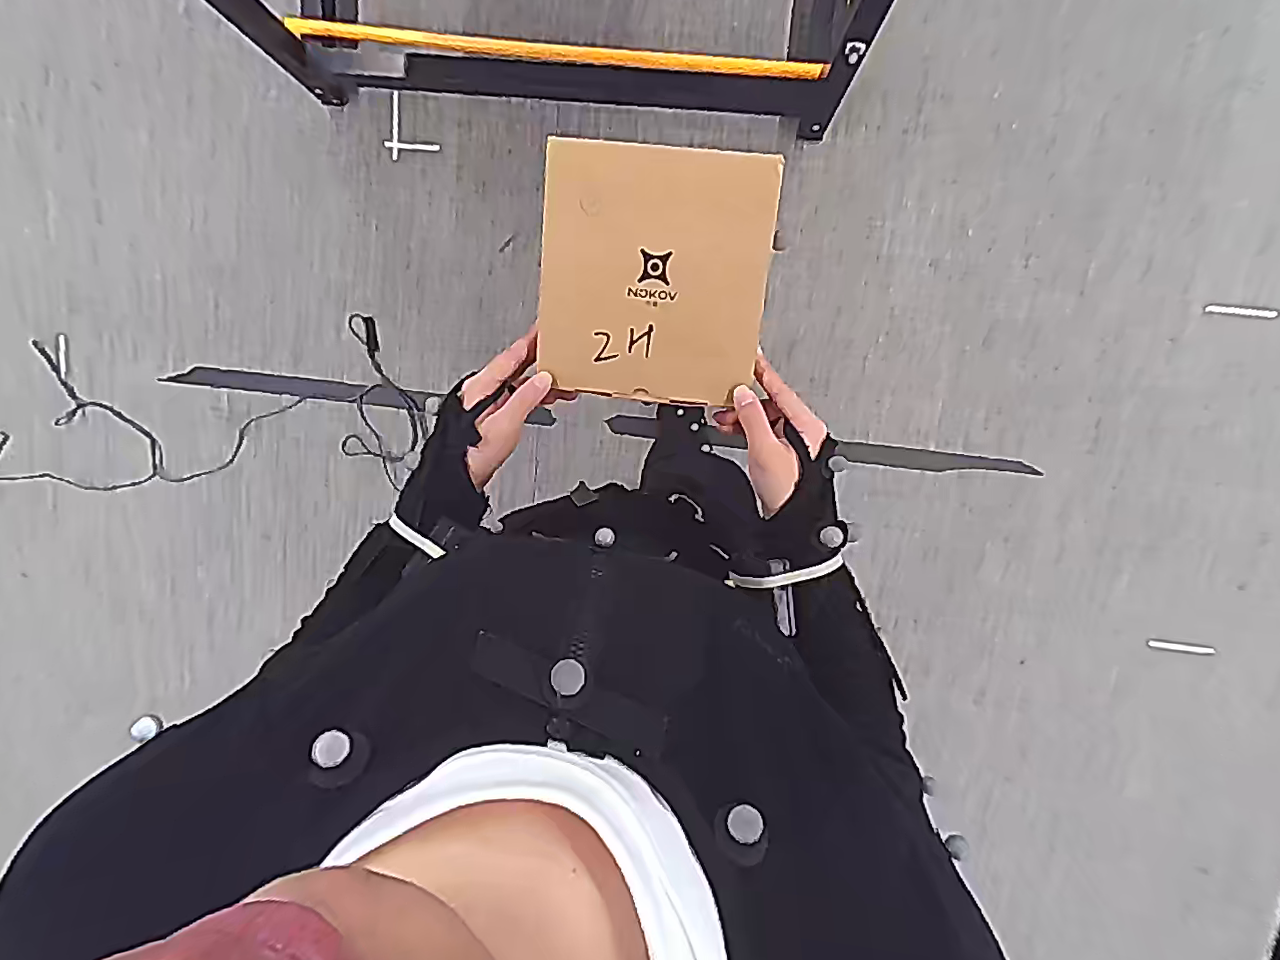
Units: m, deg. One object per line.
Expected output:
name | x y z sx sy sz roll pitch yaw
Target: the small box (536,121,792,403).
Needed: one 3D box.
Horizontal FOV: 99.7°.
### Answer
small box | 0.018 -0.169 0.462 0.168 0.176 0.179 8 104 3
